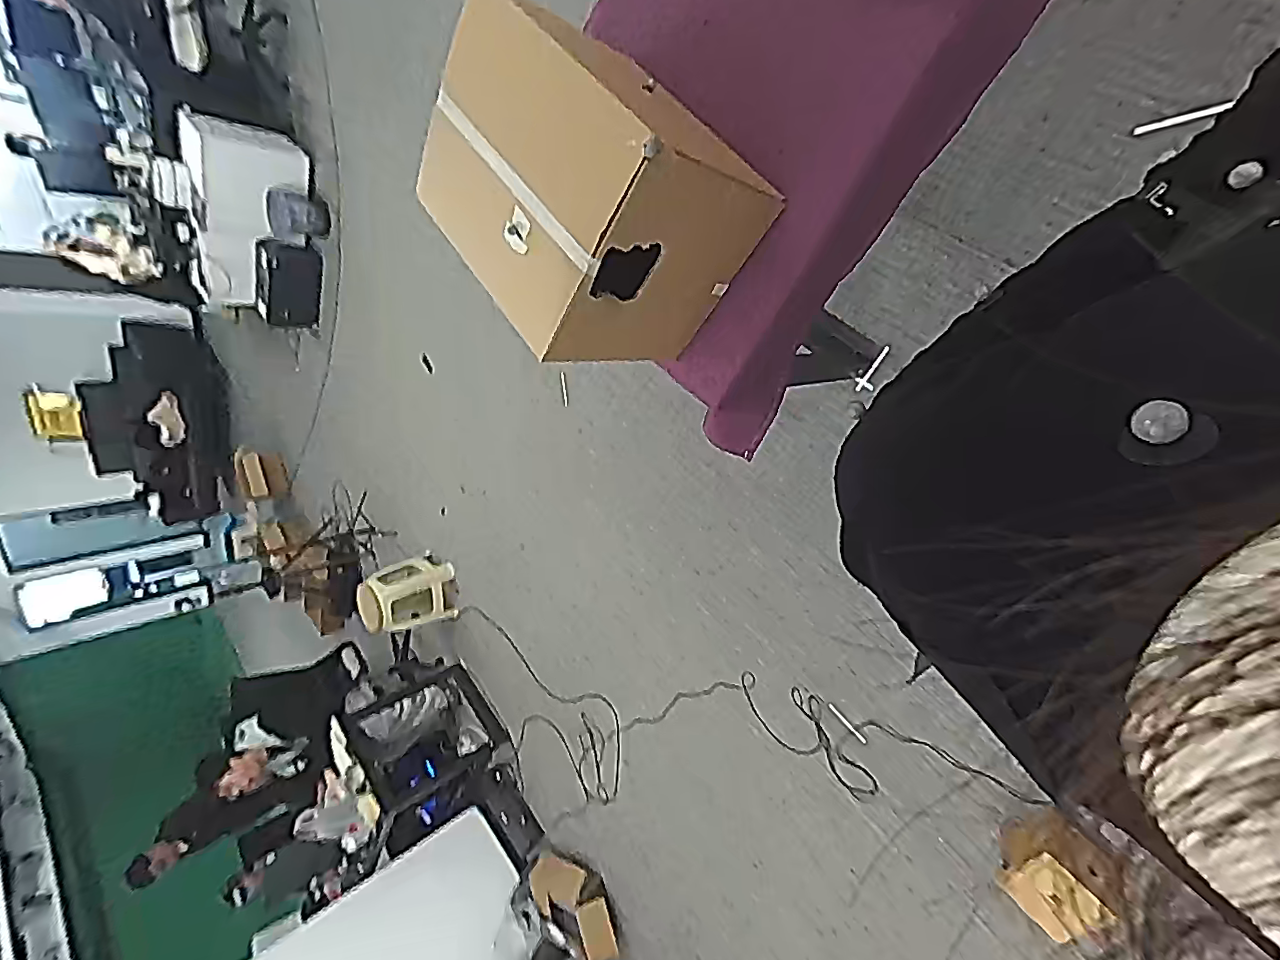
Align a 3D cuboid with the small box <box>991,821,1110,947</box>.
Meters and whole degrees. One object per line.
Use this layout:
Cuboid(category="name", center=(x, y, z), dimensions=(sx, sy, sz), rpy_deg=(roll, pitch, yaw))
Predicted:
Cuboid(category="small box", center=(0.971, 0.961, 1.288), dimensions=(0.179, 0.176, 0.168), rpy_deg=(28, 139, 14))
